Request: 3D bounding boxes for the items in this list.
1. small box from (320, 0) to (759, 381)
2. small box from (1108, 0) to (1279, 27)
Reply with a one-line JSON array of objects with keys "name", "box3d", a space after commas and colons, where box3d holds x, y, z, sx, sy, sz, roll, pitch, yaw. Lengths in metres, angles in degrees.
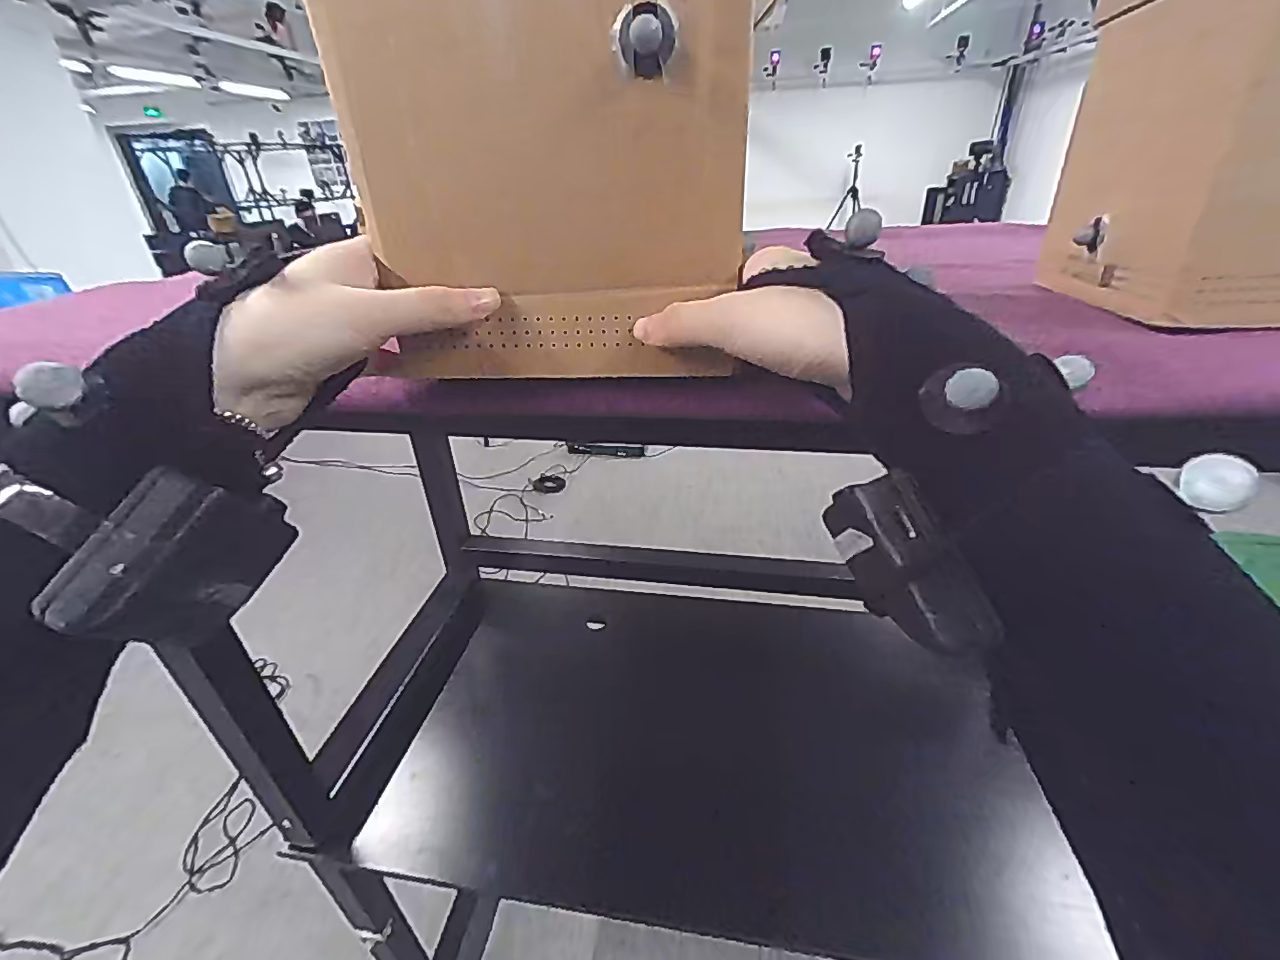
[{"name": "small box", "box3d": [-0.031, -0.160, 0.304, 0.179, 0.176, 0.168, 0, 30, 4]}, {"name": "small box", "box3d": [0.366, -0.334, 0.238, 0.168, 0.176, 0.179, 3, 29, 11]}]
